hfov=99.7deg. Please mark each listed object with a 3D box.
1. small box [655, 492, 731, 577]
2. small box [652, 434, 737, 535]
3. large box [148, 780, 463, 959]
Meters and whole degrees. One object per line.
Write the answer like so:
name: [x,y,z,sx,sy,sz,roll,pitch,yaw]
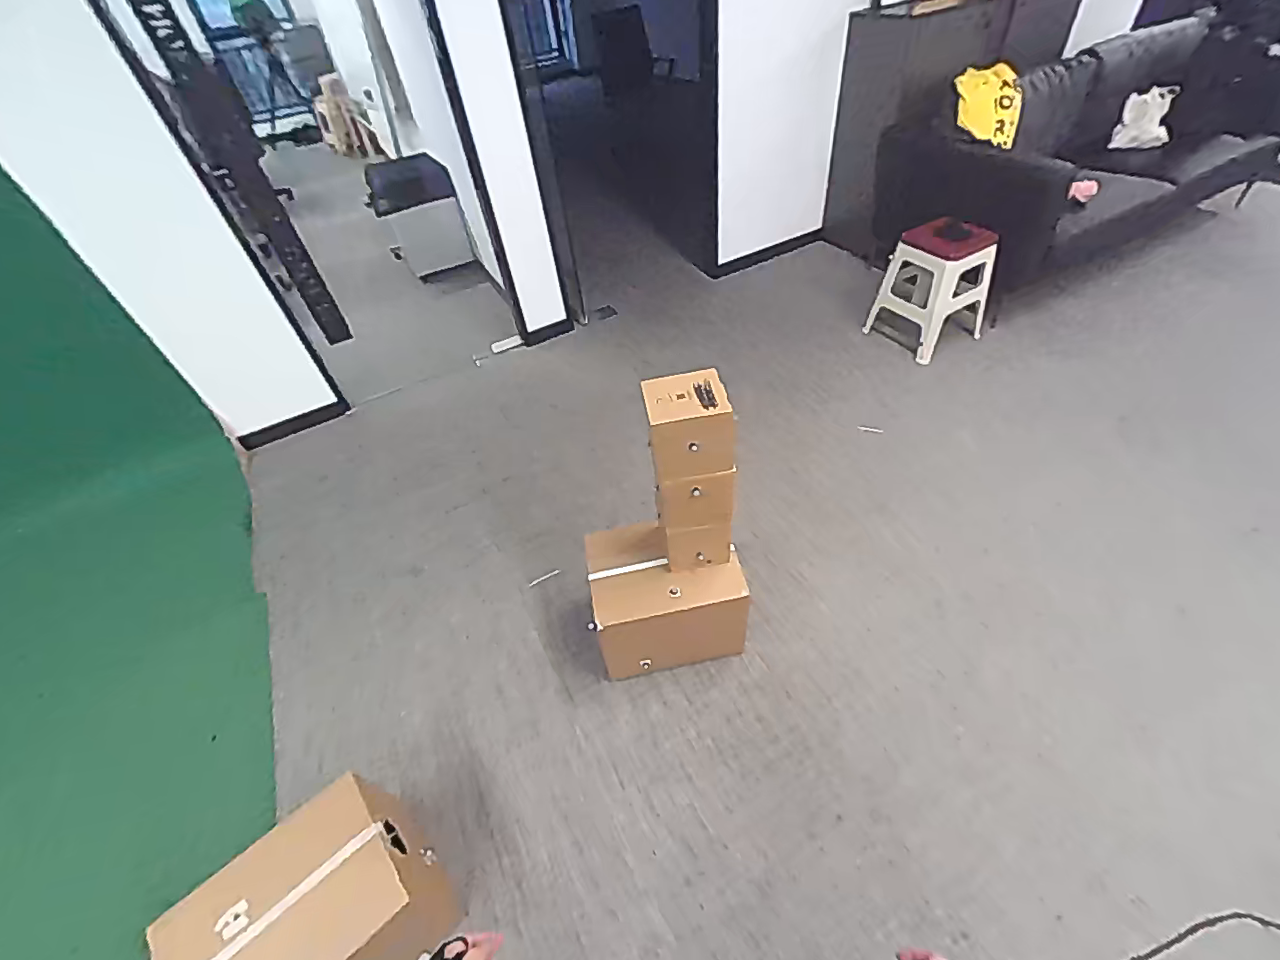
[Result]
small box: [0.139,0.131,1.437,0.168,0.176,0.179,-11,44,-2]
small box: [0.130,0.013,1.326,0.179,0.176,0.168,-10,43,-1]
large box: [-0.651,0.924,1.105,0.408,0.320,0.320,-36,51,-24]
